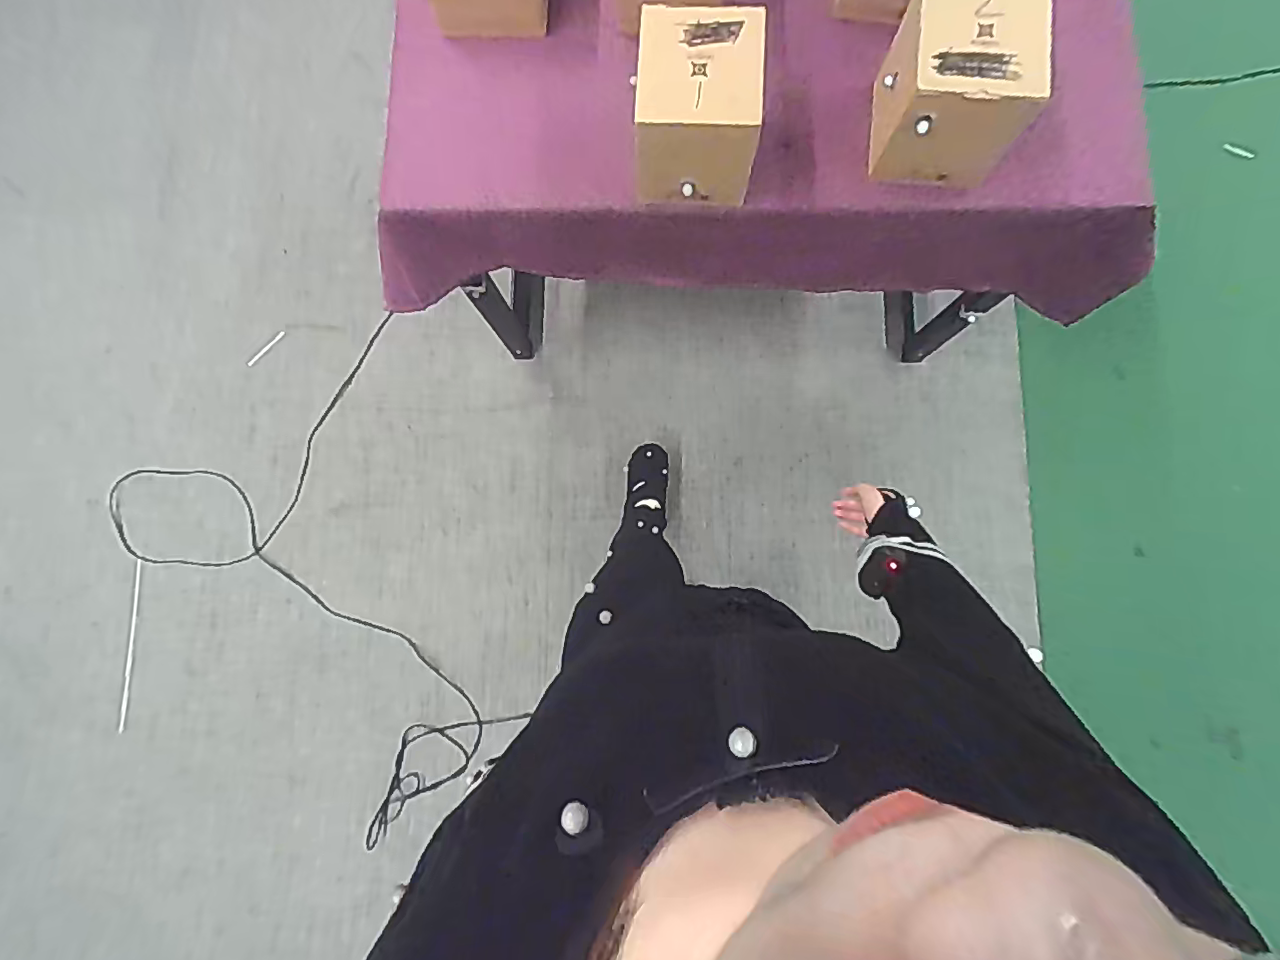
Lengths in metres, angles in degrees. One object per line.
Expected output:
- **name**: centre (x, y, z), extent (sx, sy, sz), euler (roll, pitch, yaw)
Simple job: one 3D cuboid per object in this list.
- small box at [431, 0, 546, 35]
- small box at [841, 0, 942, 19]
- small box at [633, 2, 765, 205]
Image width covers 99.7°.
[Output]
- **small box**: centre (-0.240, -0.832, 0.833), extent (0.179, 0.176, 0.168), euler (2, 83, 3)
- **small box**: centre (0.404, -0.841, 0.804), extent (0.168, 0.176, 0.179), euler (8, 84, 3)
- **small box**: centre (0.081, -0.532, 0.780), extent (0.168, 0.176, 0.179), euler (3, 83, 3)
